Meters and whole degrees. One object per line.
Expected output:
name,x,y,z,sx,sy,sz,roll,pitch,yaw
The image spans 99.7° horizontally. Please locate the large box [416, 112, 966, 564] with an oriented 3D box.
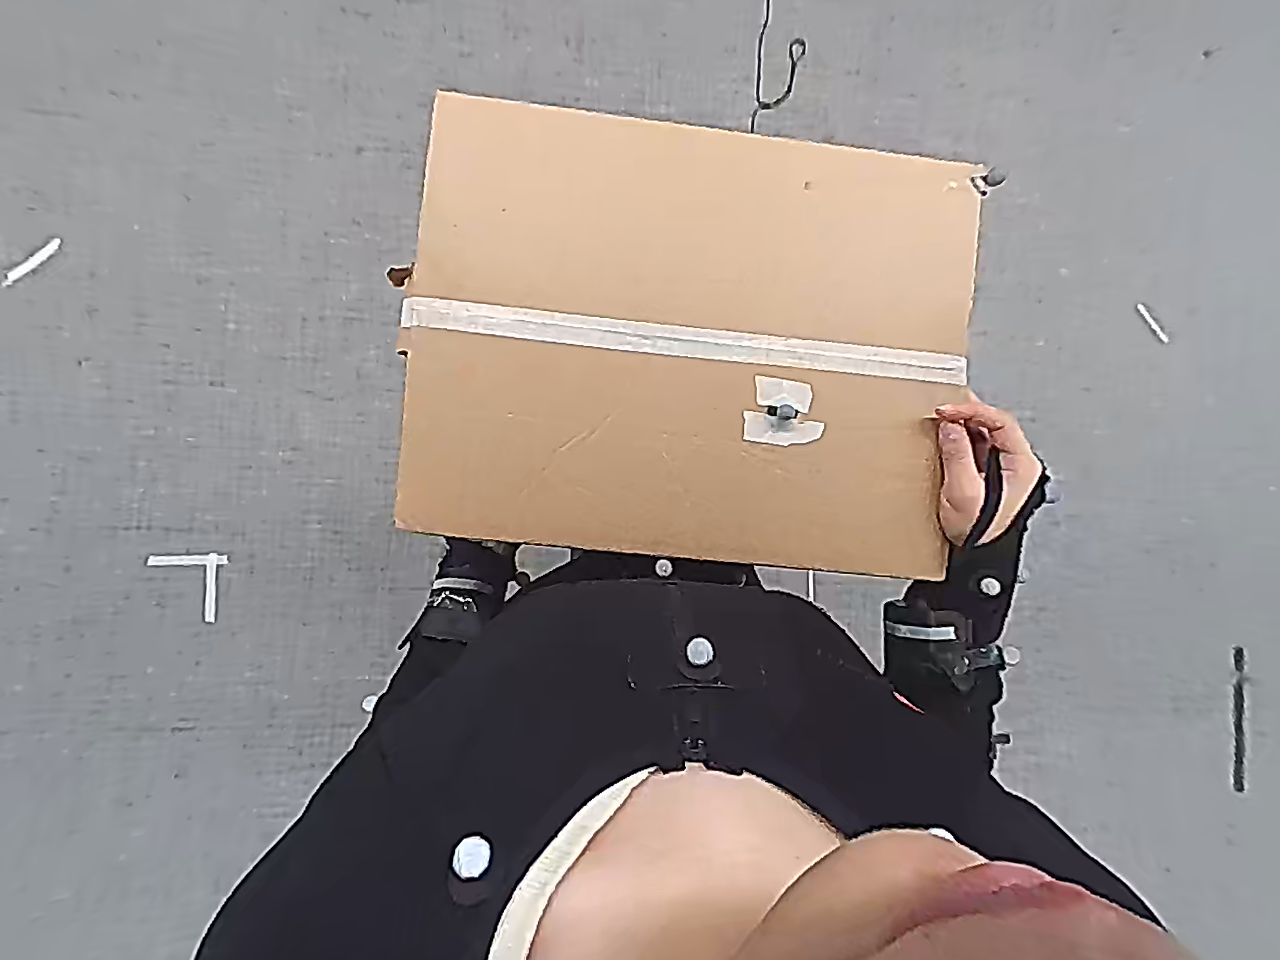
large box,0.033,-0.101,0.551,0.408,0.320,0.320,5,90,-4
